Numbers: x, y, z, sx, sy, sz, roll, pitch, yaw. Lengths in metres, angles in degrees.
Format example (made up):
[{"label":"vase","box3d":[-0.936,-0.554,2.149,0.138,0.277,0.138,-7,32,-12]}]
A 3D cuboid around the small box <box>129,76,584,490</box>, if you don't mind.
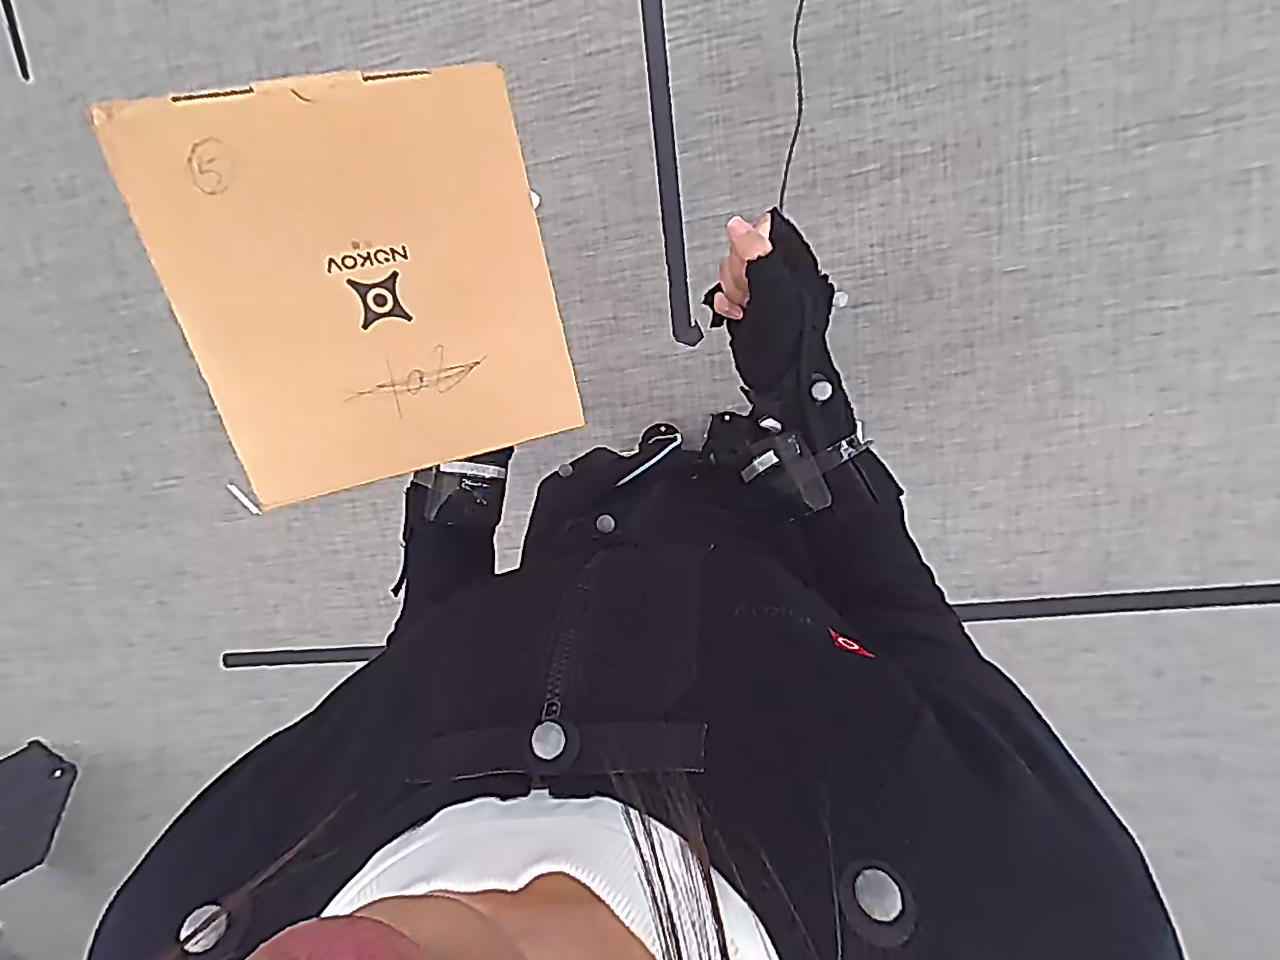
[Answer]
[{"label":"small box","box3d":[-0.147,-0.113,0.343,0.168,0.176,0.179,-16,108,-12]}]
